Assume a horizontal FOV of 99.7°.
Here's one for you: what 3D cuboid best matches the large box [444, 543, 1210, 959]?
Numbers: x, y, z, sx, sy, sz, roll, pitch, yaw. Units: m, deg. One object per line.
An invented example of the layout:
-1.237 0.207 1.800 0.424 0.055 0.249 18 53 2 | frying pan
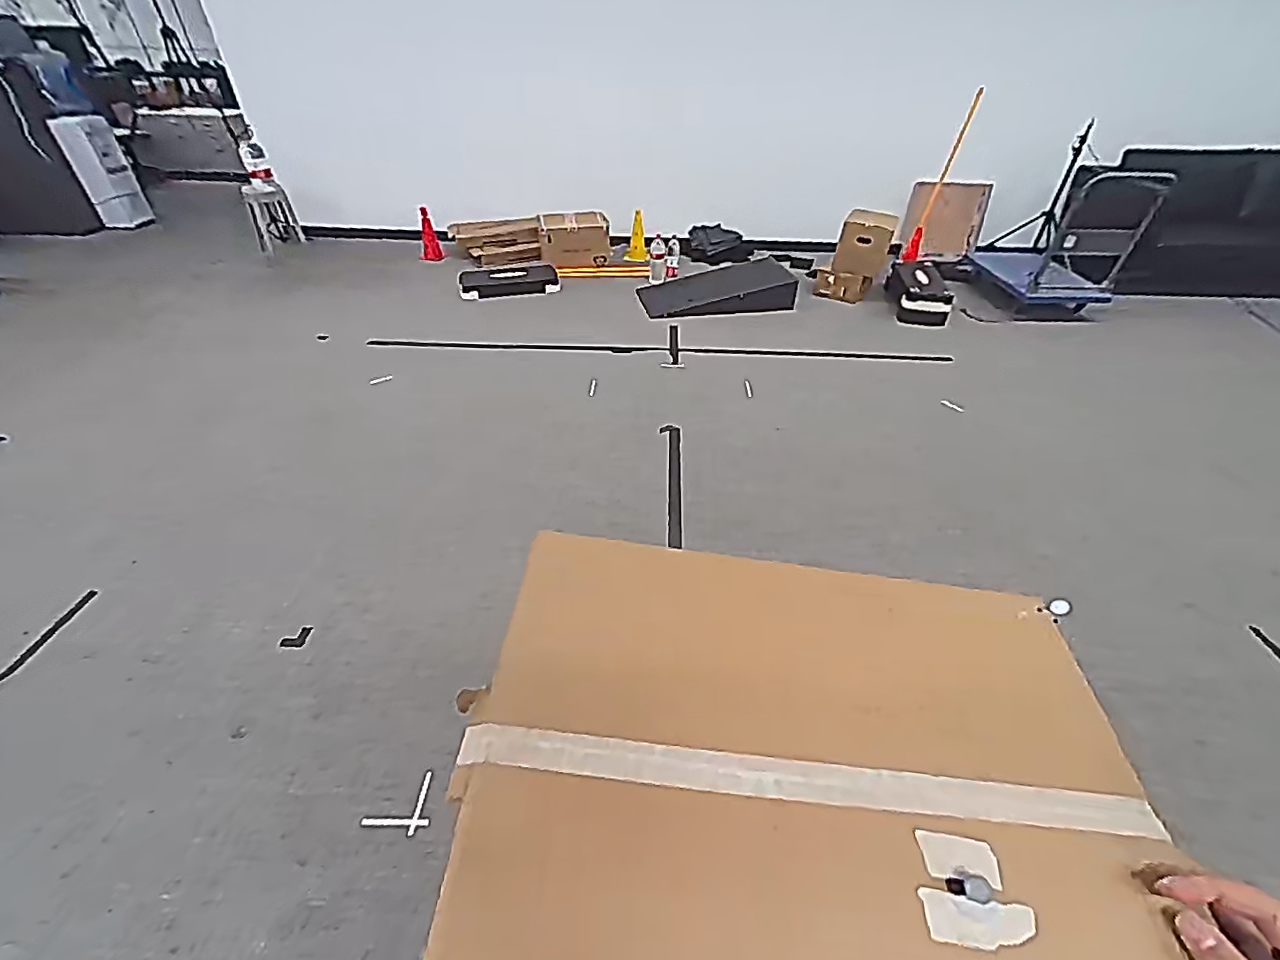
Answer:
0.088 0.285 0.429 0.408 0.320 0.320 9 46 -3 | large box
